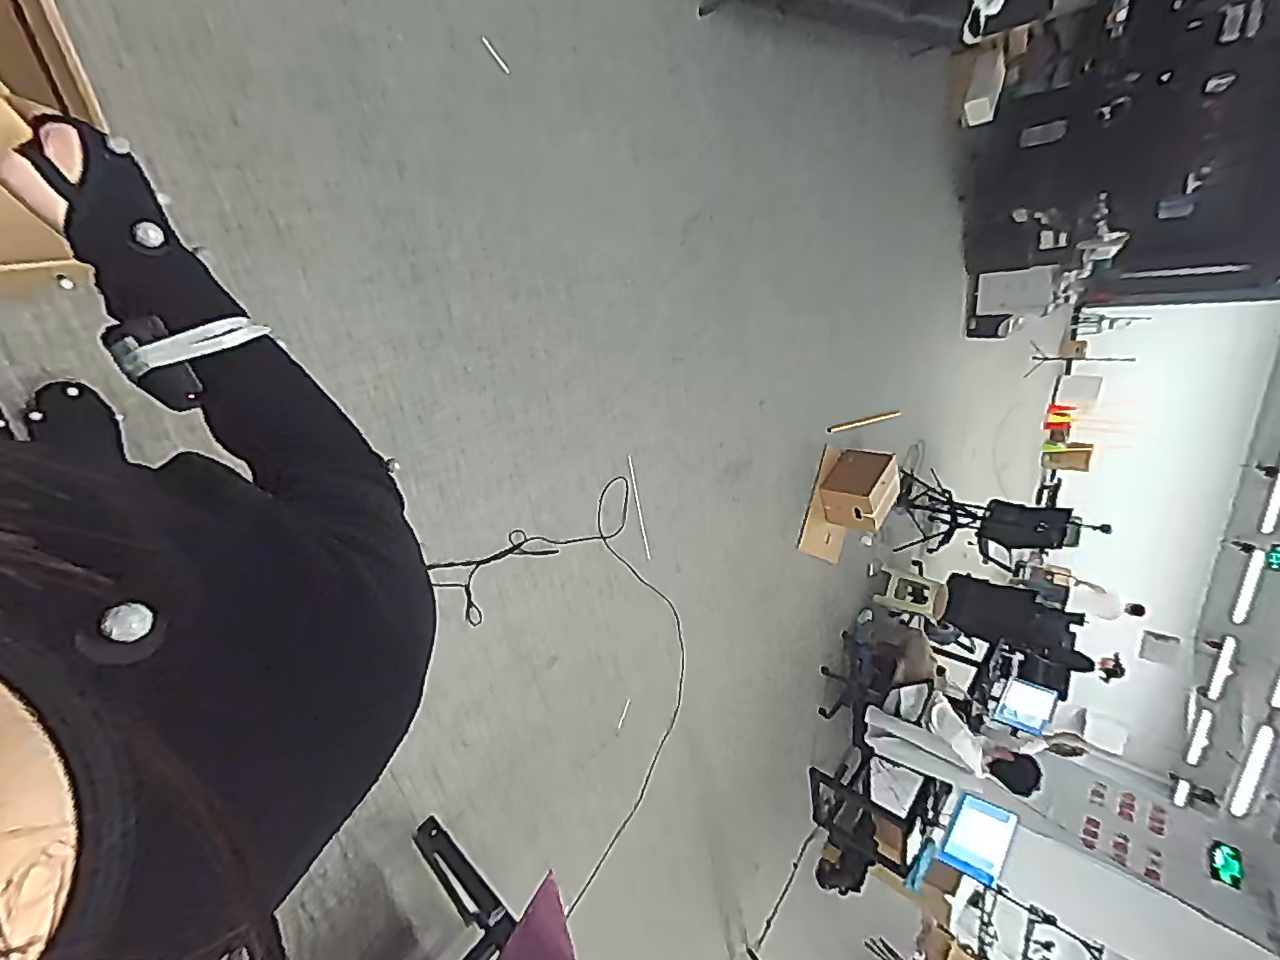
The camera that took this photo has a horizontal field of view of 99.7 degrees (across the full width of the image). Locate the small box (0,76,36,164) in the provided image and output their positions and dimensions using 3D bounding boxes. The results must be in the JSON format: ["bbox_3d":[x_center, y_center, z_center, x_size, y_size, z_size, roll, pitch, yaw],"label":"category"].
[{"bbox_3d":[-0.531,-0.271,0.318,0.168,0.176,0.179,-41,144,-18],"label":"small box"}]
